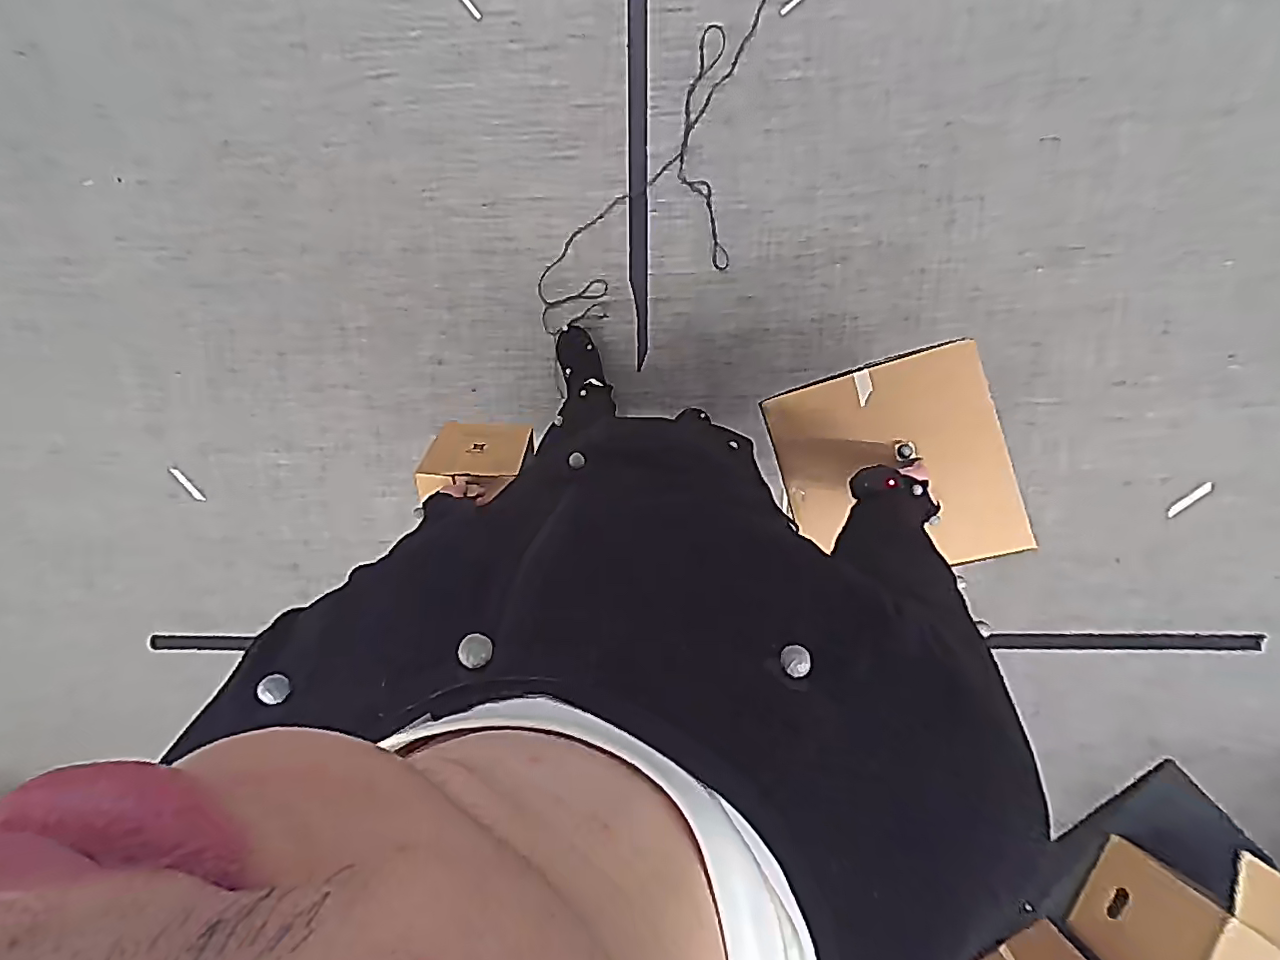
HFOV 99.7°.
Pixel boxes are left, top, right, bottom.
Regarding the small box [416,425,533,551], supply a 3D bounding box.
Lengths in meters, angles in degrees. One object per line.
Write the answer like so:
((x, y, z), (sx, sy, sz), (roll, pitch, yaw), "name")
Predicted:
((-0.290, 0.015, 0.992), (0.168, 0.179, 0.176), (2, 122, -4), "small box")
